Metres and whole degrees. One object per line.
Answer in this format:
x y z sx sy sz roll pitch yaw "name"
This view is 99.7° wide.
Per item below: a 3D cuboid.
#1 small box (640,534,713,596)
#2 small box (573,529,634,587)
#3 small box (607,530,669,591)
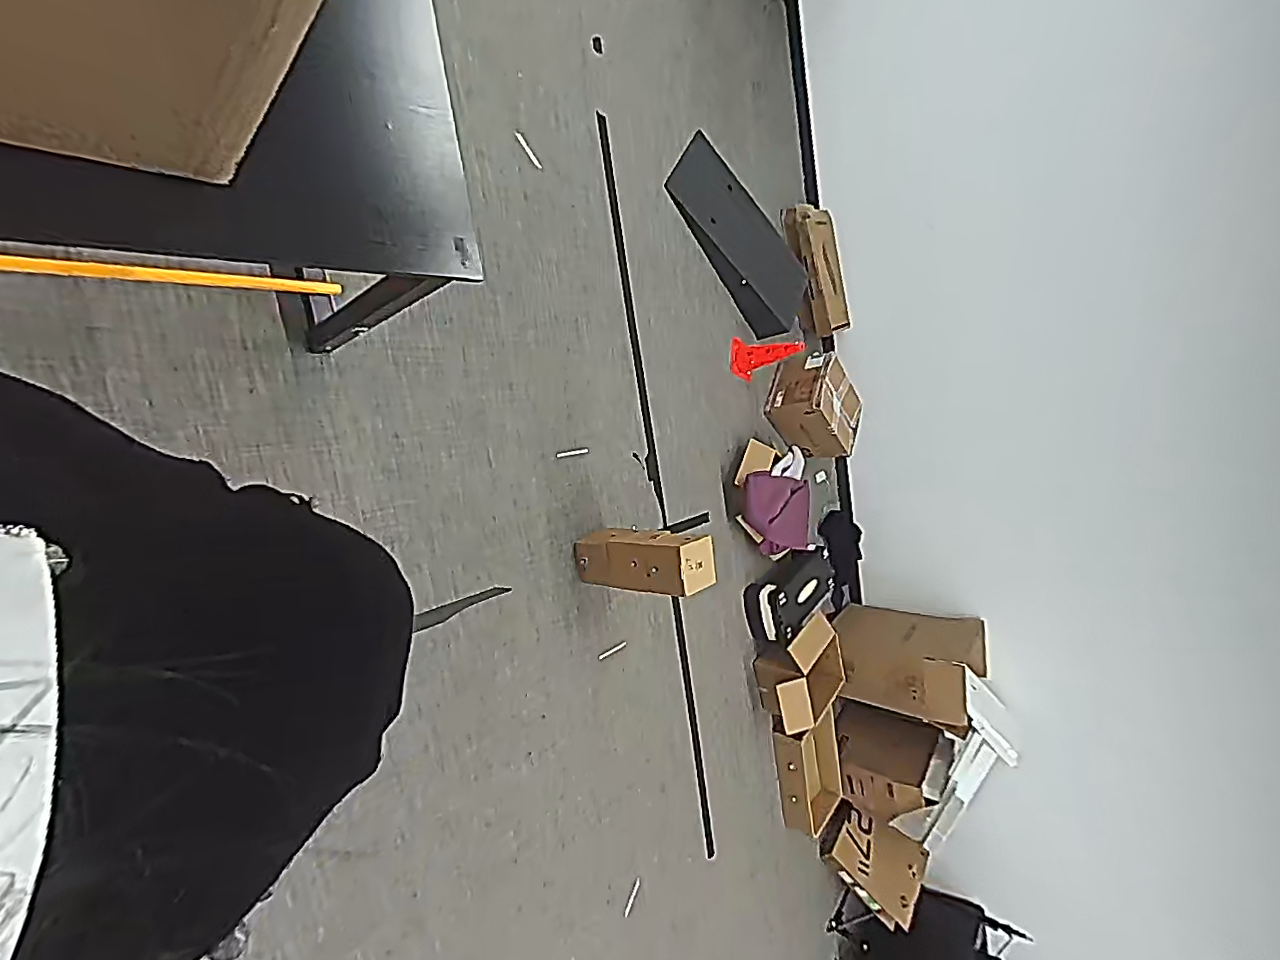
0.123 0.278 1.808 0.179 0.176 0.168 -11 96 -47 "small box"
-0.123 0.285 2.028 0.179 0.176 0.168 -22 104 -45 "small box"
-0.001 0.280 1.917 0.168 0.176 0.179 -16 100 -46 "small box"
